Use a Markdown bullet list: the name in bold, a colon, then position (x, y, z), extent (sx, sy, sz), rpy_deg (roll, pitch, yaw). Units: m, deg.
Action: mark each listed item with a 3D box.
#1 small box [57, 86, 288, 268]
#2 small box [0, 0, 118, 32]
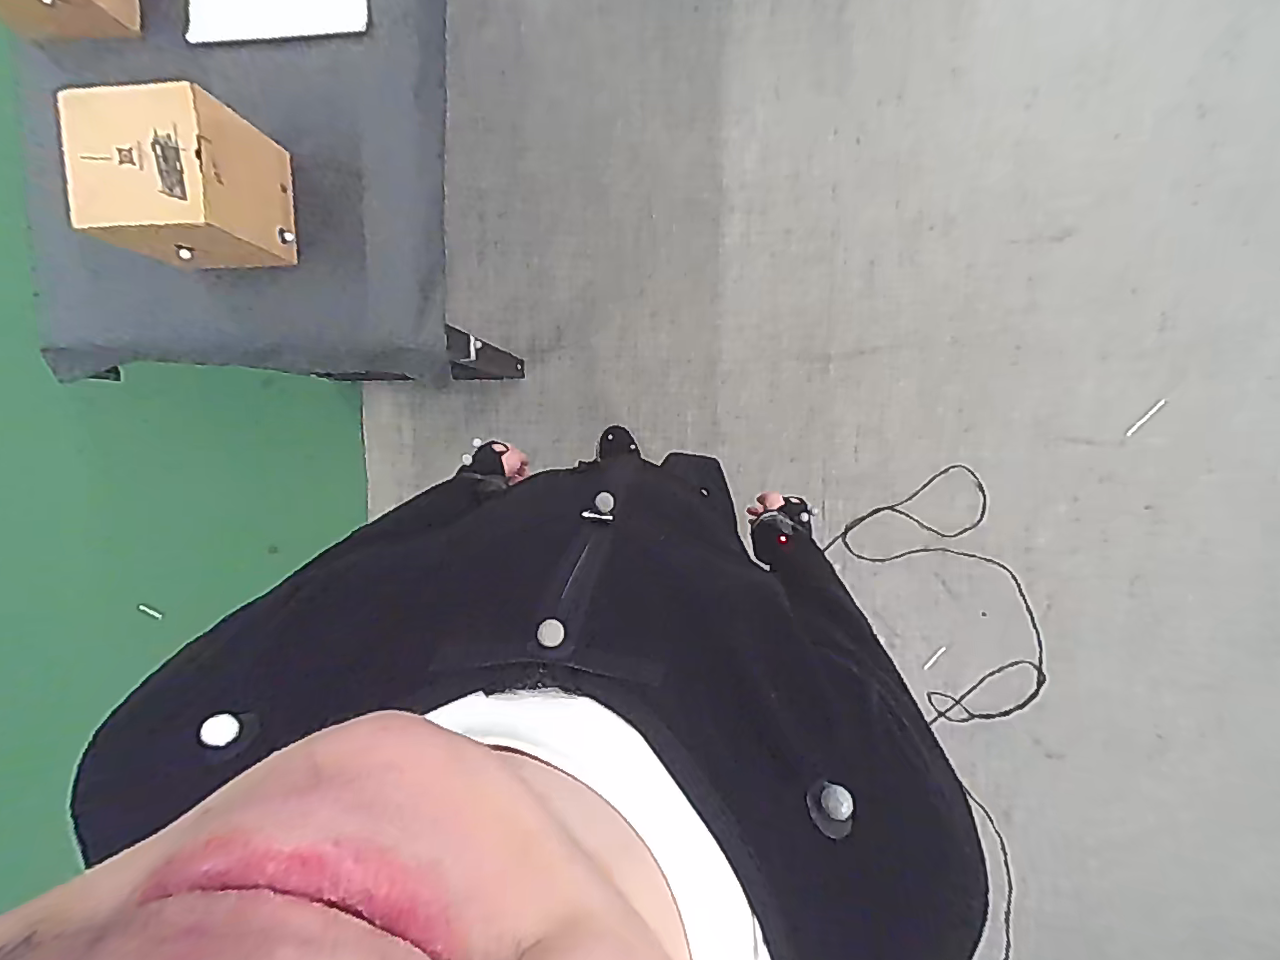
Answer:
- **small box**: position (-0.612, -0.397, 0.735), extent (0.179, 0.176, 0.168), rpy_deg (-1, 95, 2)
- **small box**: position (-0.827, -0.723, 0.696), extent (0.179, 0.176, 0.168), rpy_deg (0, 94, 2)
